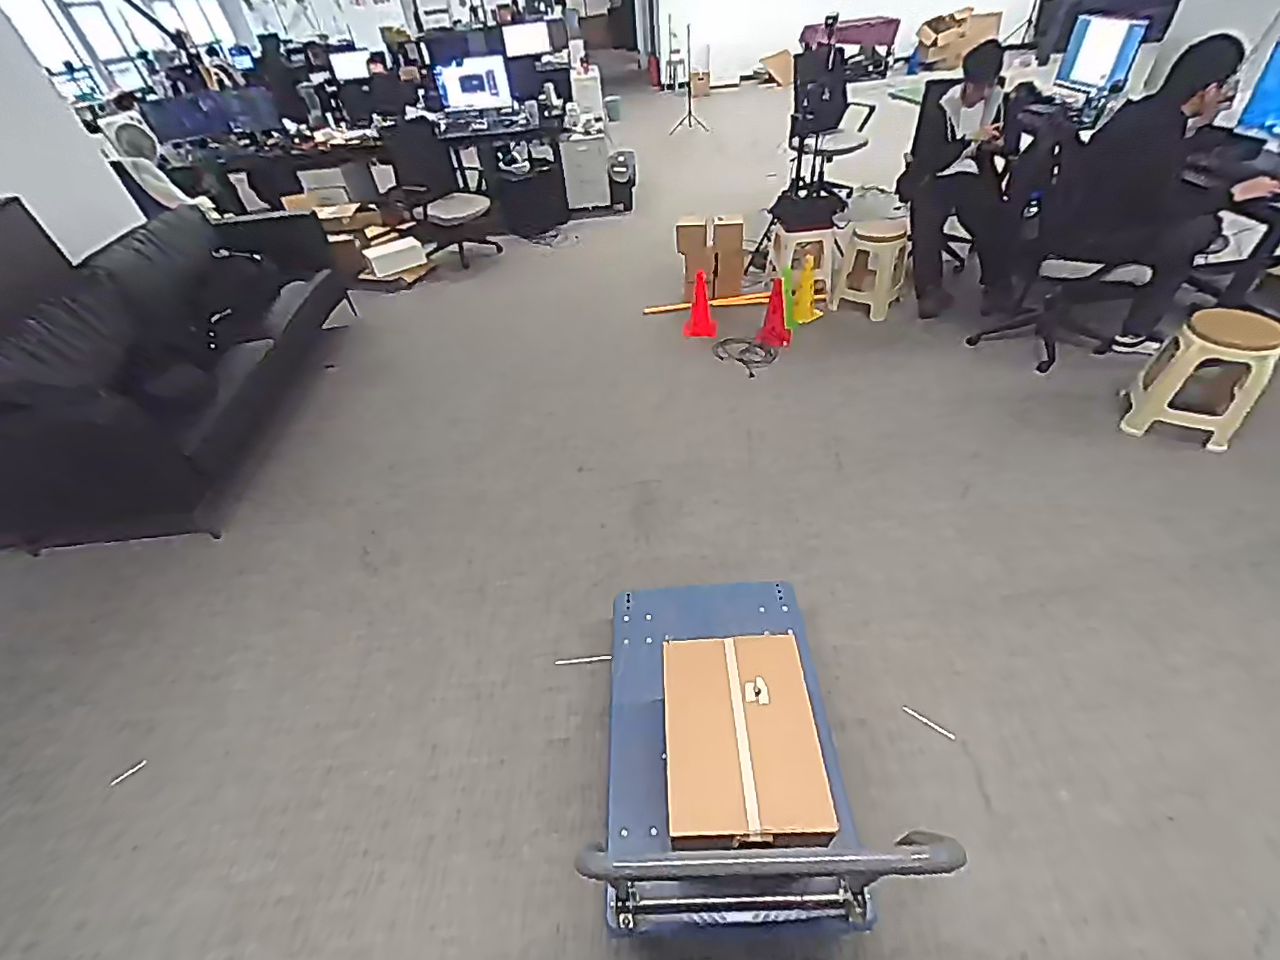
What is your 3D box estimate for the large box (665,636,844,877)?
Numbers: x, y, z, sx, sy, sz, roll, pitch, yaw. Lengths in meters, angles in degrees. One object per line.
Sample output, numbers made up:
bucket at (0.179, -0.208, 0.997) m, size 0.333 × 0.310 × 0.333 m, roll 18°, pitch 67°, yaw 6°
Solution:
large box at (0.231, 0.620, 1.226) m, size 0.320 × 0.320 × 0.408 m, roll -4°, pitch 42°, yaw 3°
